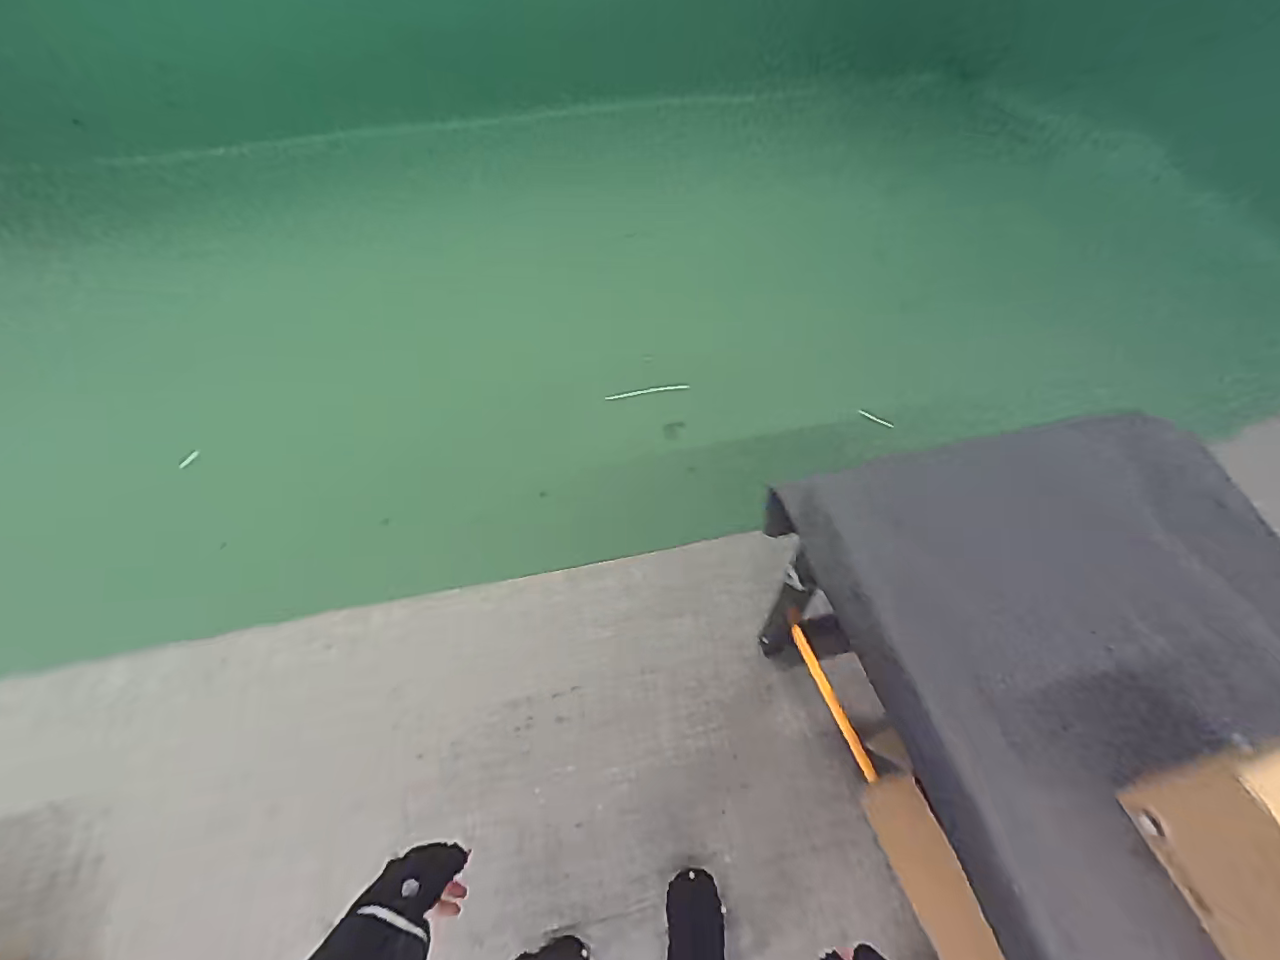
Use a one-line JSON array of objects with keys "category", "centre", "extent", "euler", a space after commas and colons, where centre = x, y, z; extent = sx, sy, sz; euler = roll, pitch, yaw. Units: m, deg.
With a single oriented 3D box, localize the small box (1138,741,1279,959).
[{"category": "small box", "centre": [0.652, 0.358, 0.525], "extent": [0.179, 0.176, 0.168], "euler": [-13, 56, -8]}]
